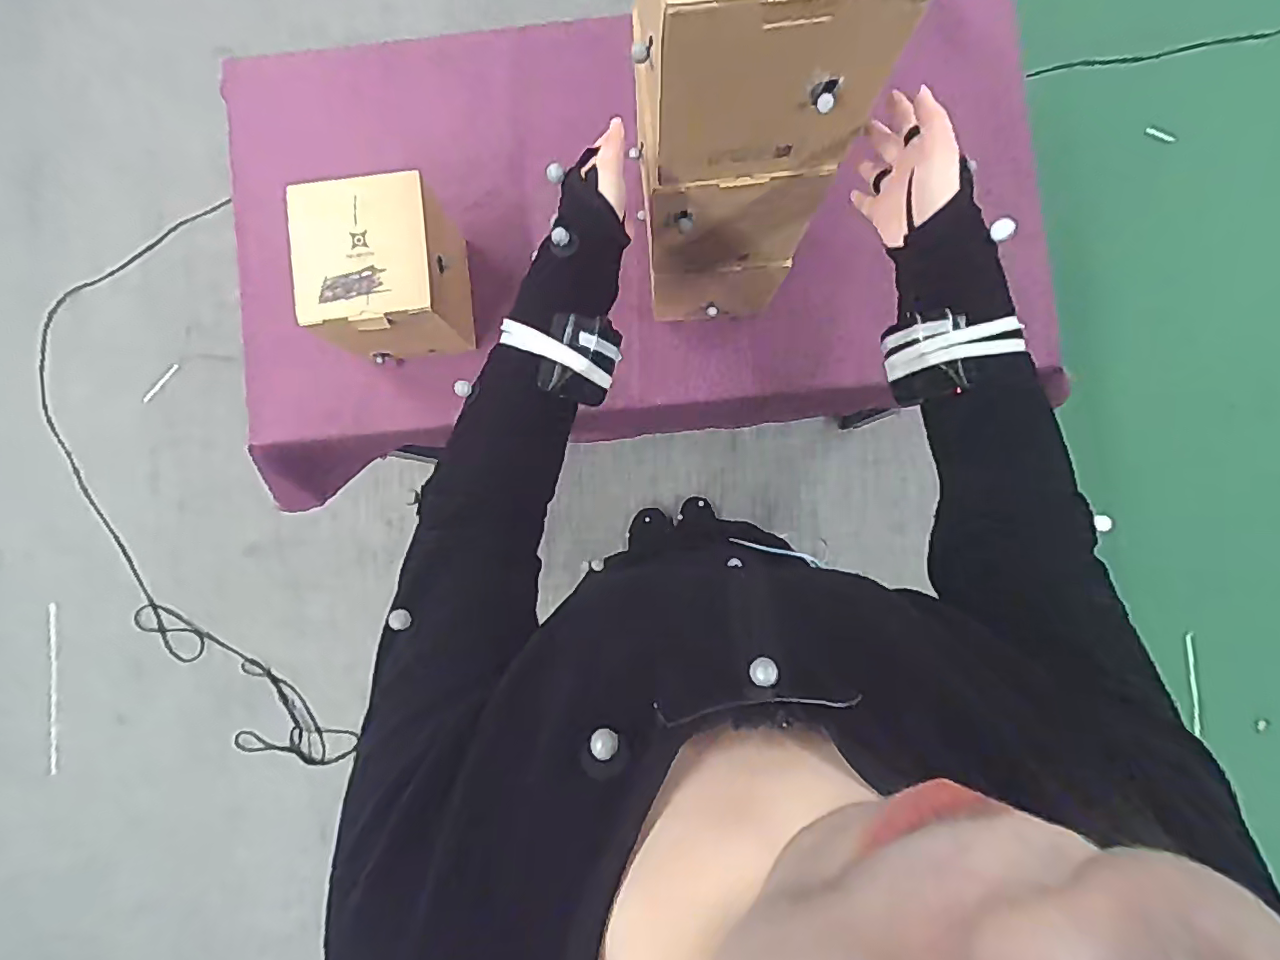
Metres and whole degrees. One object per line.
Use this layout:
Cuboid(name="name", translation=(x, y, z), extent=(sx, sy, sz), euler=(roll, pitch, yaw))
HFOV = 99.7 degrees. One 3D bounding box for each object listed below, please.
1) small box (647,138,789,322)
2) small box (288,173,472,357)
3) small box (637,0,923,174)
Cuboid(name="small box", translation=(0.093, -0.329, 0.724), extent=(0.168, 0.176, 0.179), euler=(-3, 87, 2))
Cuboid(name="small box", translation=(-0.337, -0.274, 0.731), extent=(0.168, 0.176, 0.179), euler=(-6, 86, 0))
Cuboid(name="small box", translation=(0.084, -0.353, 0.397), extent=(0.168, 0.176, 0.179), euler=(-6, 86, 0))
